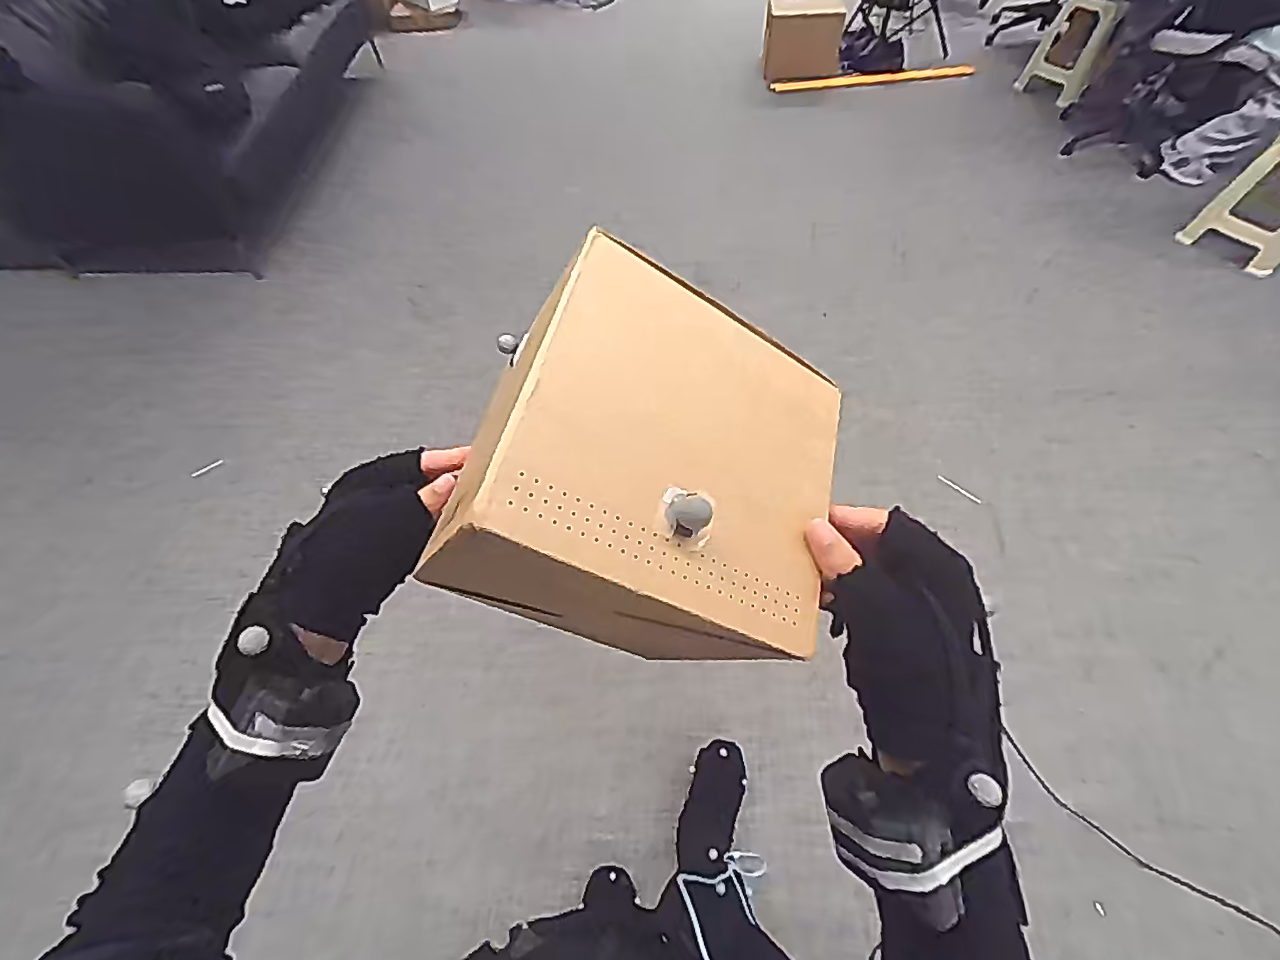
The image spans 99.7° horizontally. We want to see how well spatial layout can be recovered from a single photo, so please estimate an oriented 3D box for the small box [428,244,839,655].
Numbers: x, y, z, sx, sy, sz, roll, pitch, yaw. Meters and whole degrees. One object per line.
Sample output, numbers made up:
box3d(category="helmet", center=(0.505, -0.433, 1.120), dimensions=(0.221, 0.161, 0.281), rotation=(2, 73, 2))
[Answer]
box3d(category="small box", center=(-0.007, 0.004, 0.342), dimensions=(0.179, 0.168, 0.176), rotation=(26, 62, -19))
